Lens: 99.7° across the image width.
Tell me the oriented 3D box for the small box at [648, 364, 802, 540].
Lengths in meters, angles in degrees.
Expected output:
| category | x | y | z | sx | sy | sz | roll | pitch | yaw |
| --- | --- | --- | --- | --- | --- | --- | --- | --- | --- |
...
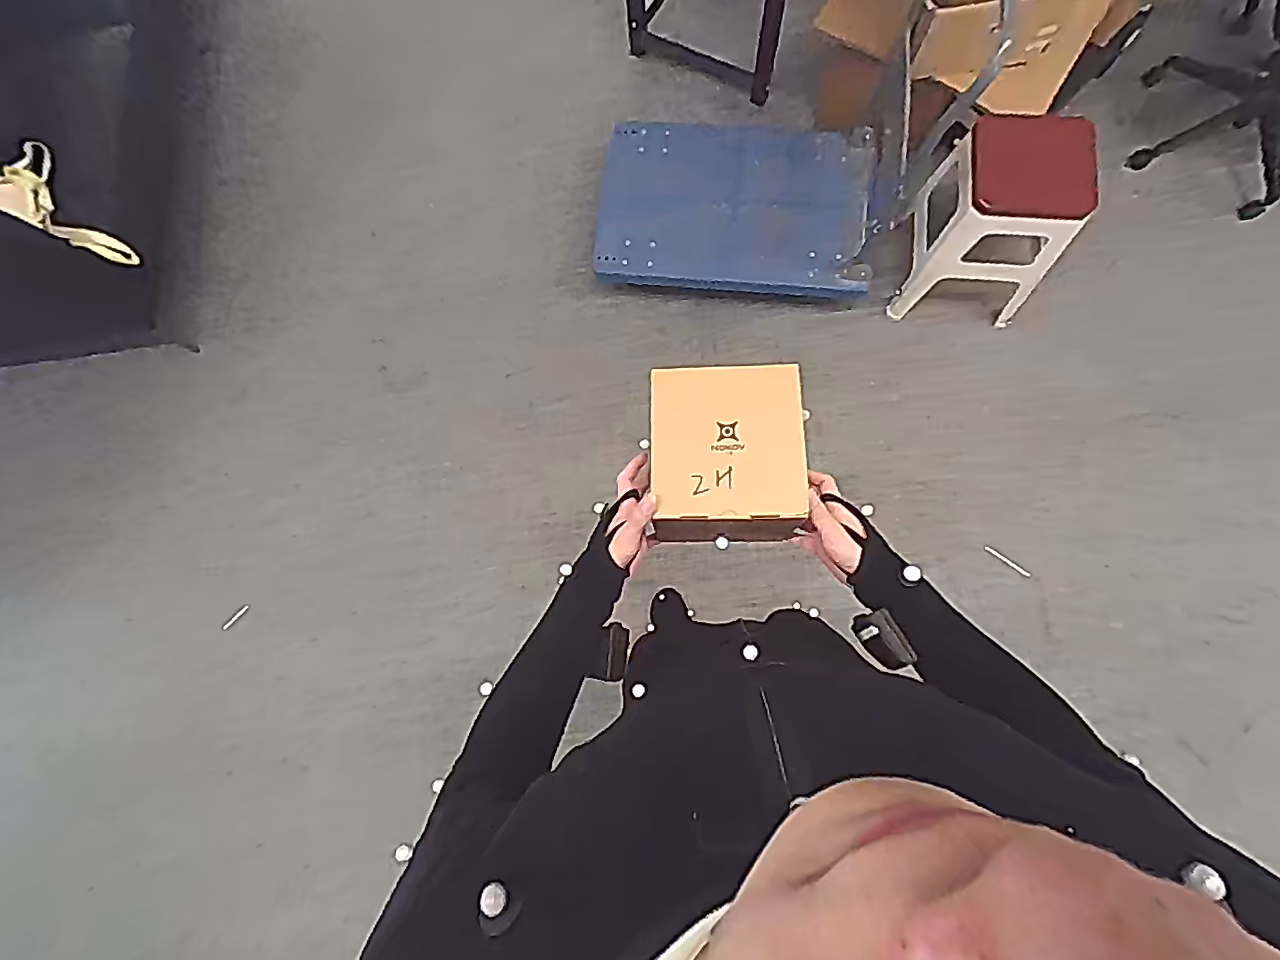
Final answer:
| category | x | y | z | sx | sy | sz | roll | pitch | yaw |
| --- | --- | --- | --- | --- | --- | --- | --- | --- | --- |
| small box | 0.098 | -0.026 | 0.670 | 0.168 | 0.176 | 0.179 | 0 | 75 | 5 |
